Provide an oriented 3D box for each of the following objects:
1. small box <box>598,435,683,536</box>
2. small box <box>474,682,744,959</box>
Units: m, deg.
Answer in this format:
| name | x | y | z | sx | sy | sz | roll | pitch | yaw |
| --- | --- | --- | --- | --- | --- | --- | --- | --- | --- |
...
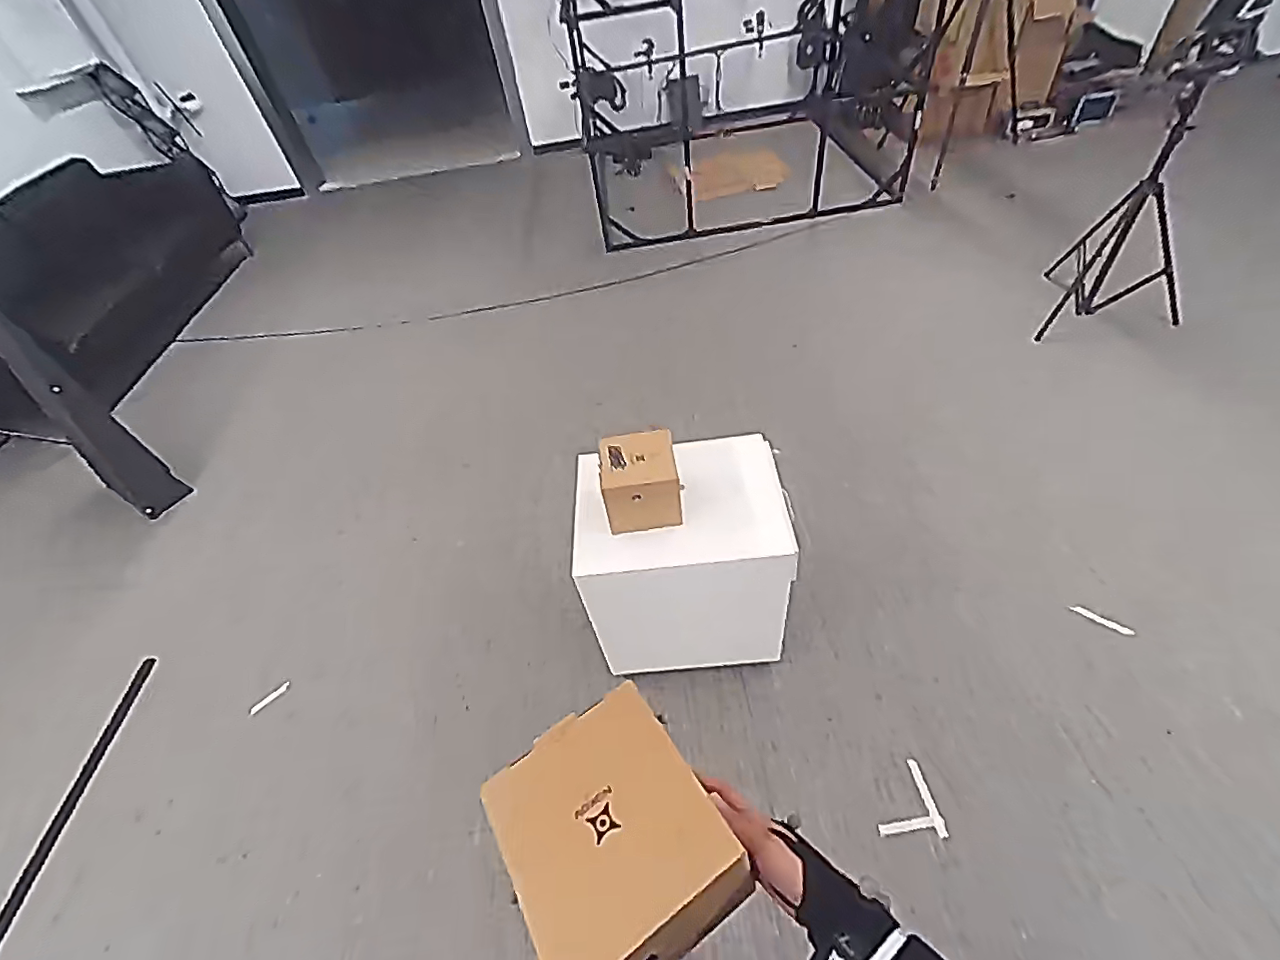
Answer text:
| name | x | y | z | sx | sy | sz | roll | pitch | yaw |
| --- | --- | --- | --- | --- | --- | --- | --- | --- | --- |
| small box | 0.002 | 0.017 | 1.296 | 0.179 | 0.176 | 0.168 | -8 | 47 | 1 |
| small box | -0.021 | 0.335 | 0.504 | 0.168 | 0.176 | 0.179 | -32 | 44 | -16 |
